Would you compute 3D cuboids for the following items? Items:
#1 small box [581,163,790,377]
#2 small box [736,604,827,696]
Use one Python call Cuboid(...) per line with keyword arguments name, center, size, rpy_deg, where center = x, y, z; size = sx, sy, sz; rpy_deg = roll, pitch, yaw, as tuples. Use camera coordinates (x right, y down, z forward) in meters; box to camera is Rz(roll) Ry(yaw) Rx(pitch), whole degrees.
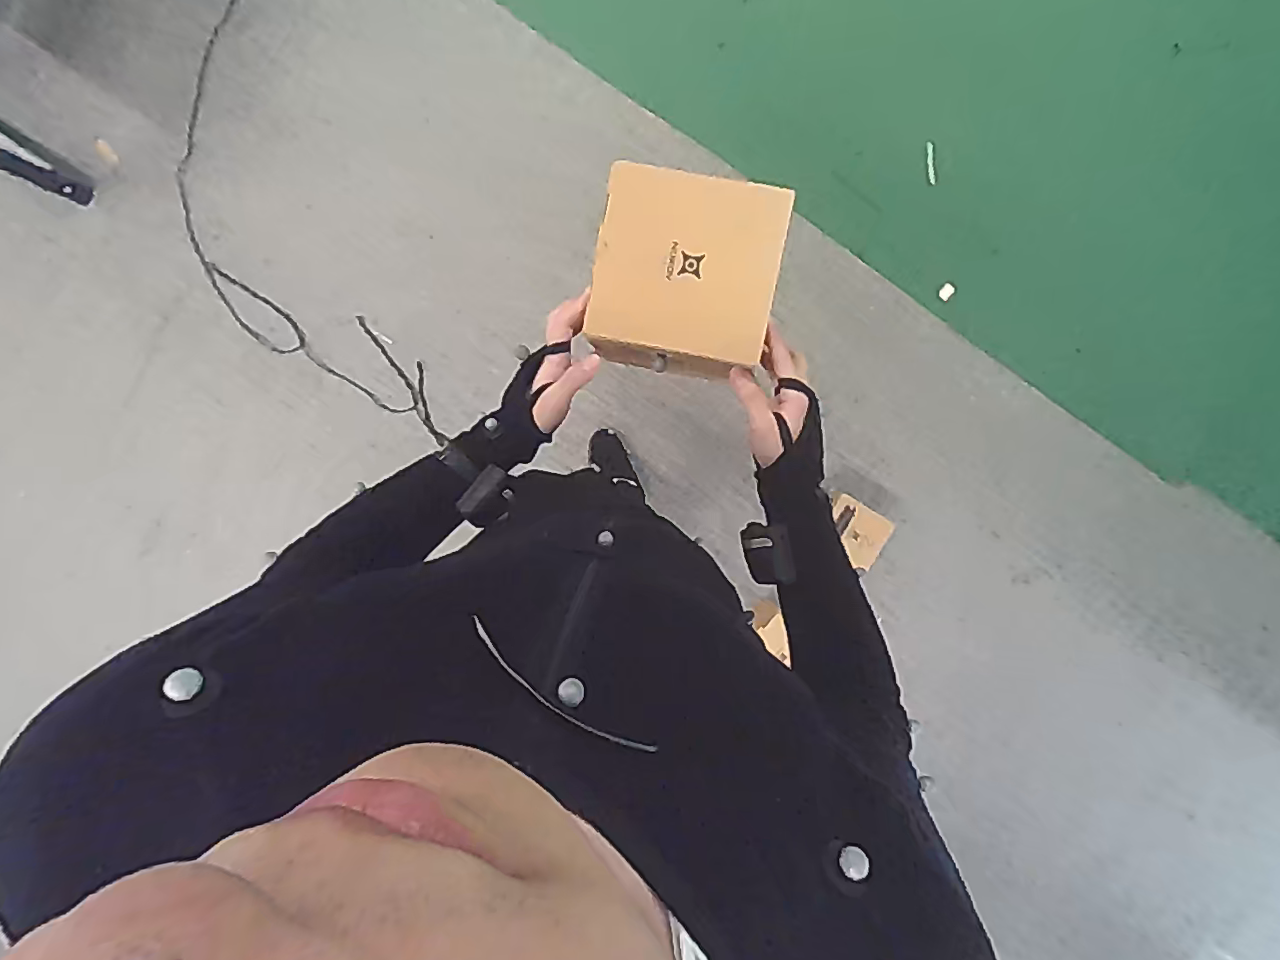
Cuboid(name="small box", center=(0.047, -0.212, 0.593), size=(0.179, 0.176, 0.168), rpy_deg=(11, 95, 4))
Cuboid(name="small box", center=(0.400, 0.479, 1.563), size=(0.179, 0.176, 0.168), rpy_deg=(43, 93, 0))
